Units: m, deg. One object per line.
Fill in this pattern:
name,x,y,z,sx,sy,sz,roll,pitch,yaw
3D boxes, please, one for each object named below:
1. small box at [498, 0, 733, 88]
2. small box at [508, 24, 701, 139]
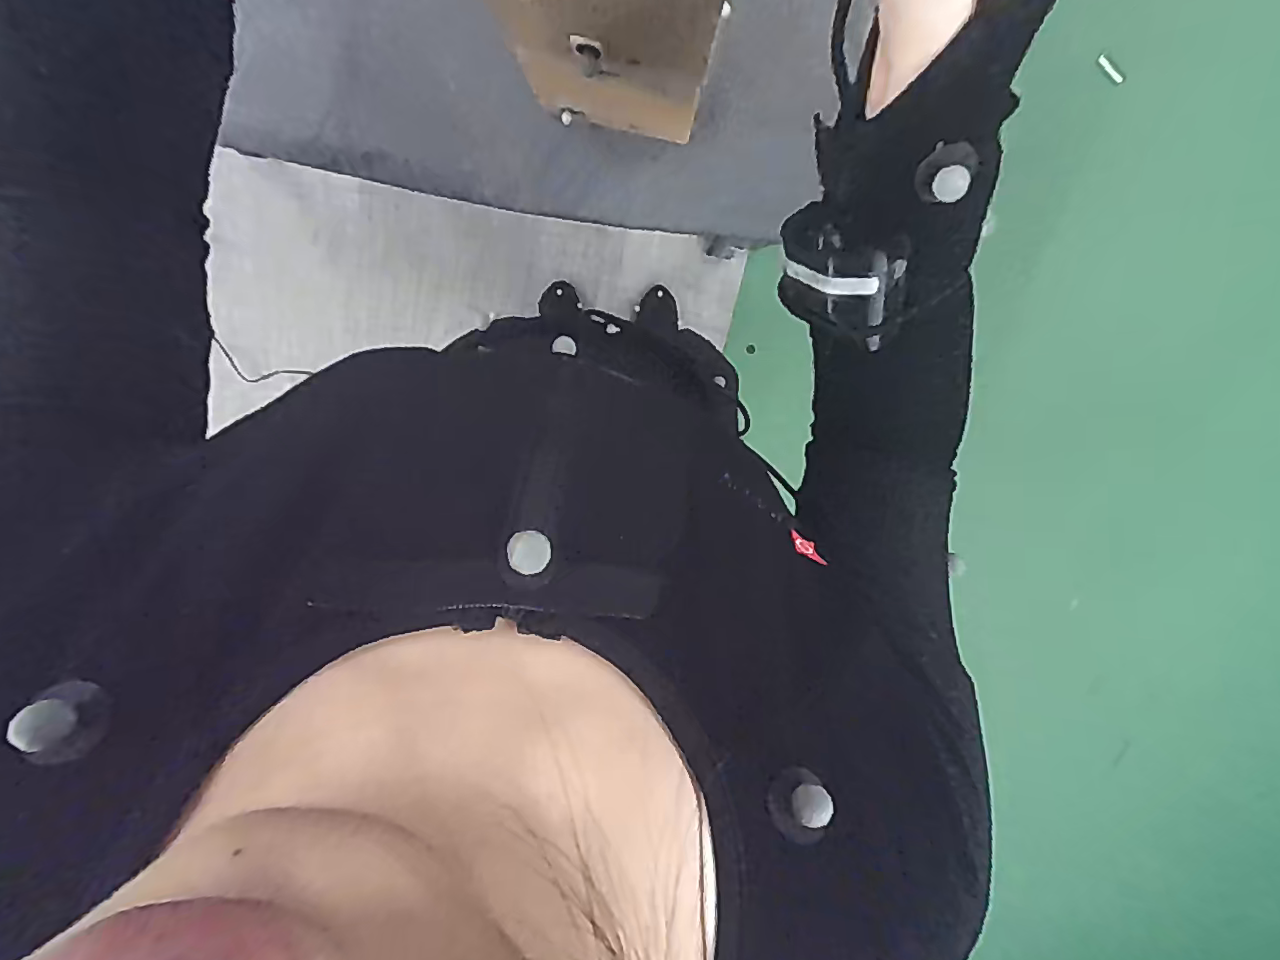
small box,-0.013,-0.394,0.347,0.168,0.176,0.179,8,109,-1
small box,-0.011,-0.448,0.501,0.168,0.176,0.179,11,107,-3
